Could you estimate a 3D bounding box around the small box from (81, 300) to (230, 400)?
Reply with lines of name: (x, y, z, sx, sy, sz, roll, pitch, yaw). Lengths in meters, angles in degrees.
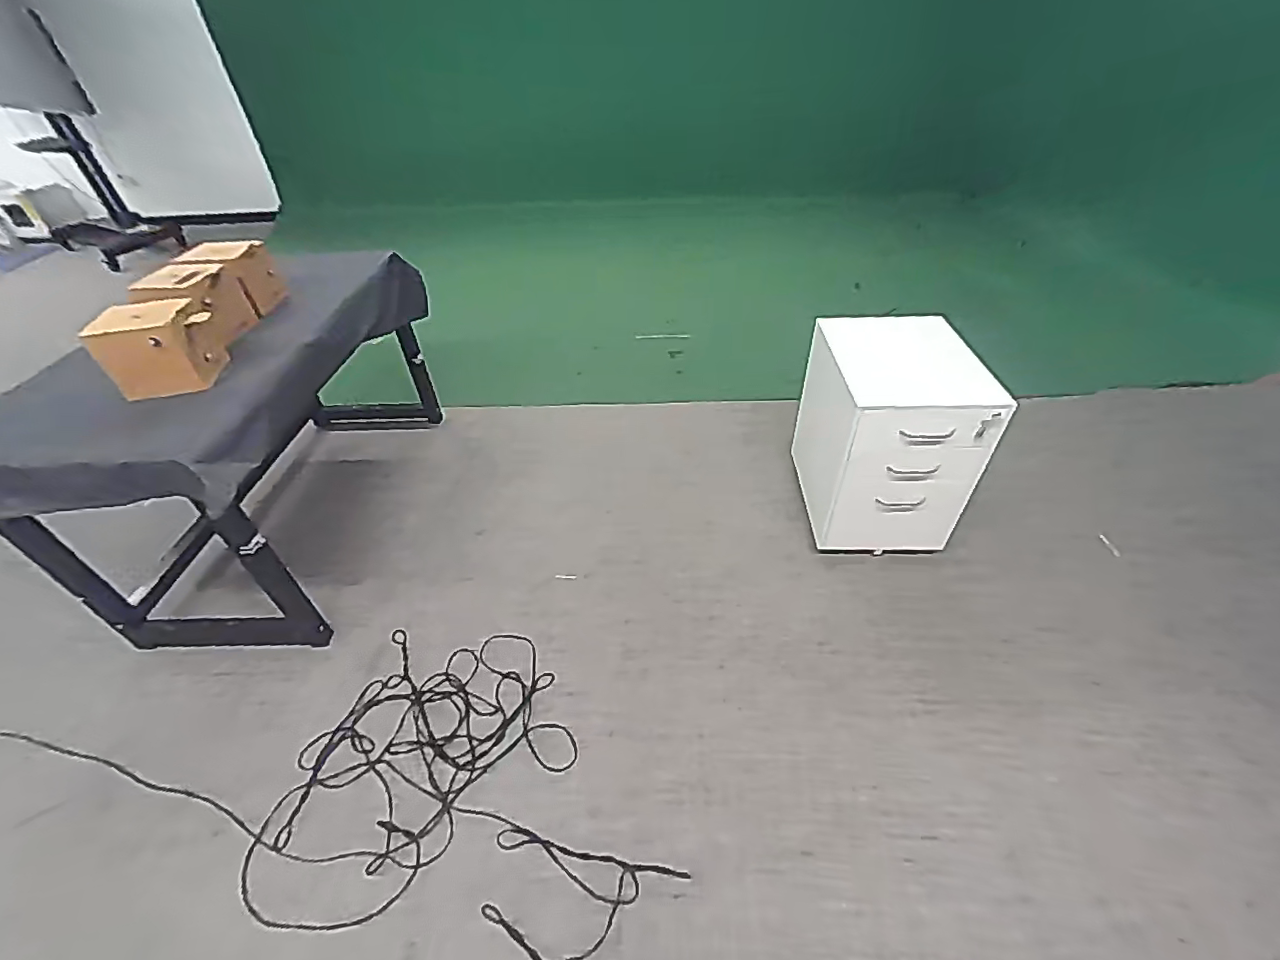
small box: (-1.130, -0.305, 1.280, 0.179, 0.176, 0.168, -11, 41, -10)
